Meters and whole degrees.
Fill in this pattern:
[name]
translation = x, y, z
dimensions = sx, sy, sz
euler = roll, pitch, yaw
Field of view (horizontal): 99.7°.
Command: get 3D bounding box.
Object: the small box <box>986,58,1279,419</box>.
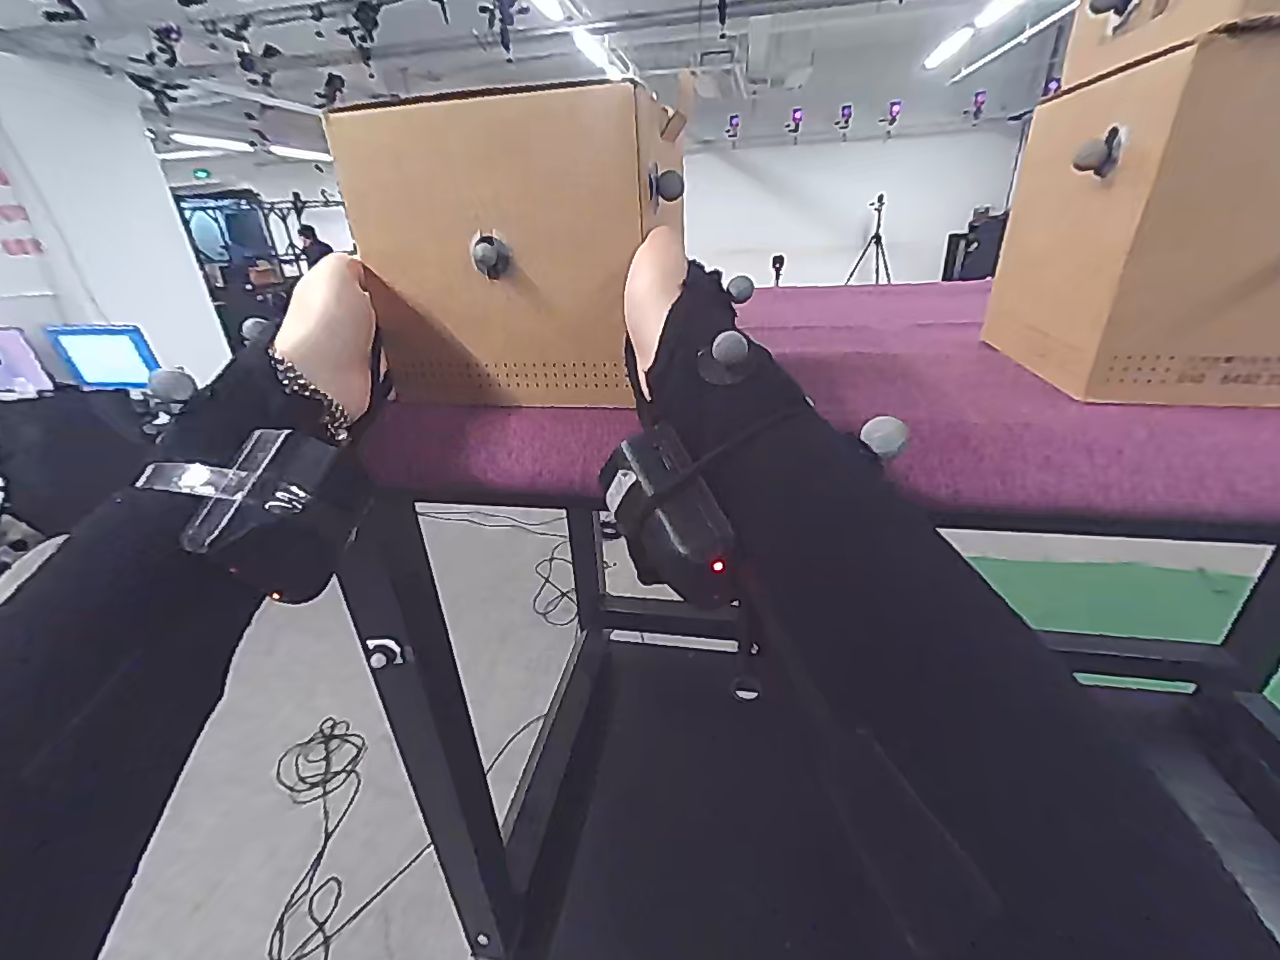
[small box]
translation = 0.343, -0.141, 0.328
dimensions = 0.168, 0.176, 0.179
euler = 4, 27, 12
